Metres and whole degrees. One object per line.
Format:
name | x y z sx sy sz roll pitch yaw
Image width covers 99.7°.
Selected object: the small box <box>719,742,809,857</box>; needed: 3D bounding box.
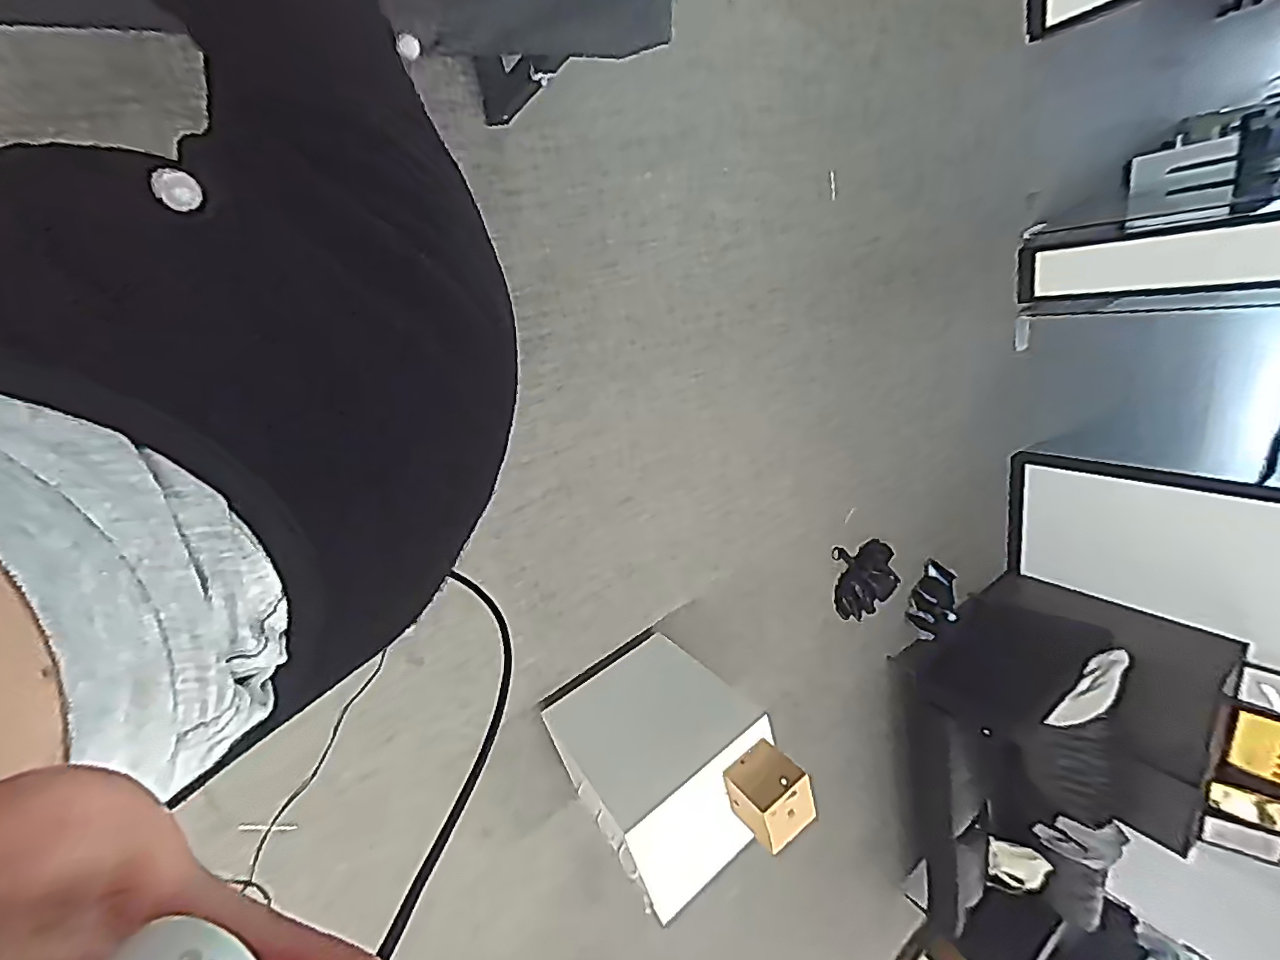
small box | 0.342 0.877 1.501 0.168 0.176 0.179 -27 116 -25
